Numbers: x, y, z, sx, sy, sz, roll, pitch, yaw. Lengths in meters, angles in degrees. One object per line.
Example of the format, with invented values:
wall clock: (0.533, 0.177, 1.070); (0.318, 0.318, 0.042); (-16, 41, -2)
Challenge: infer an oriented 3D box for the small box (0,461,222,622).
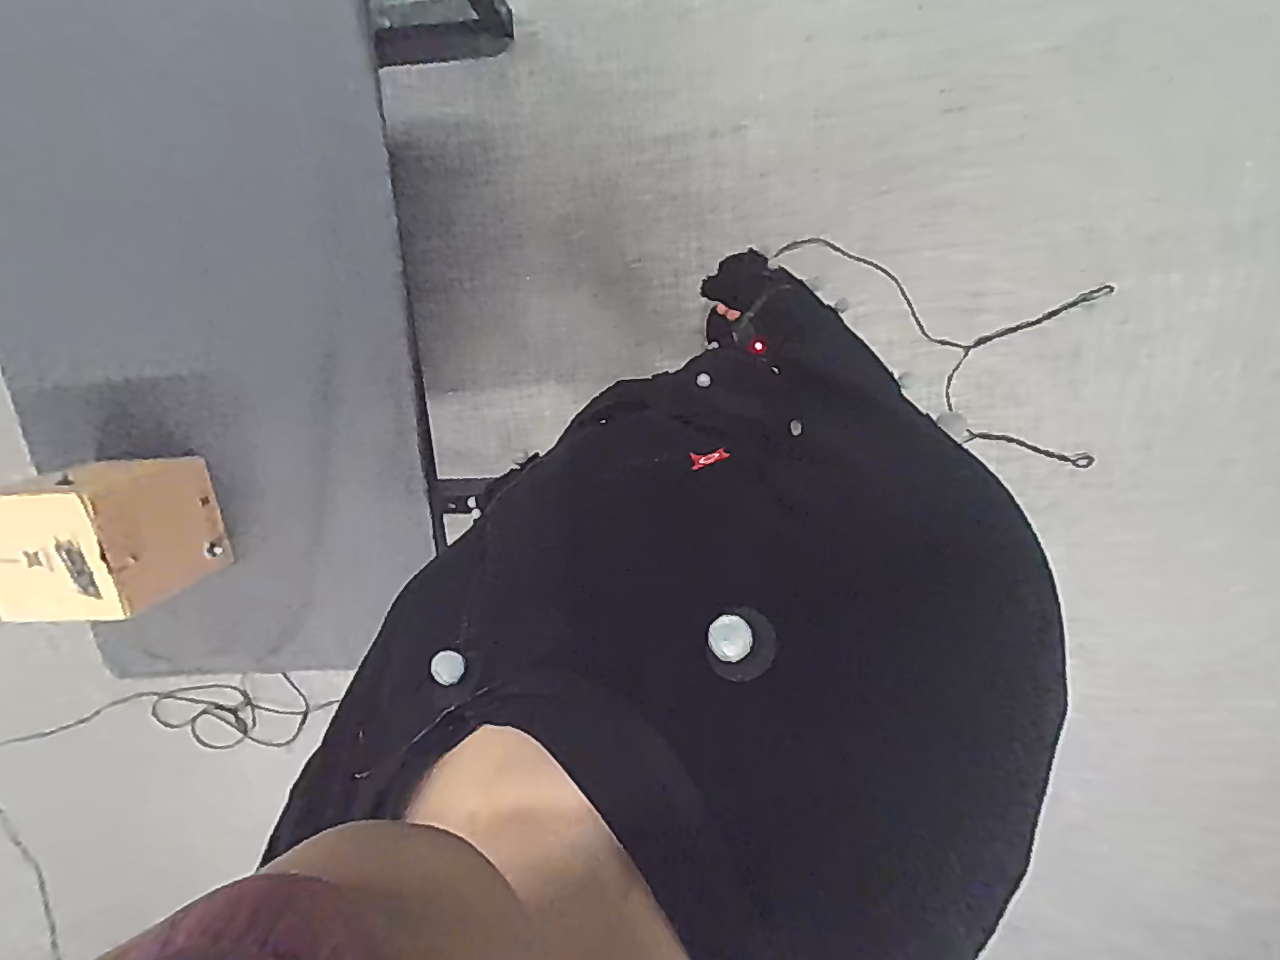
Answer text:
small box: (-0.709, 0.074, 0.724); (0.179, 0.176, 0.168); (-2, 106, 5)
